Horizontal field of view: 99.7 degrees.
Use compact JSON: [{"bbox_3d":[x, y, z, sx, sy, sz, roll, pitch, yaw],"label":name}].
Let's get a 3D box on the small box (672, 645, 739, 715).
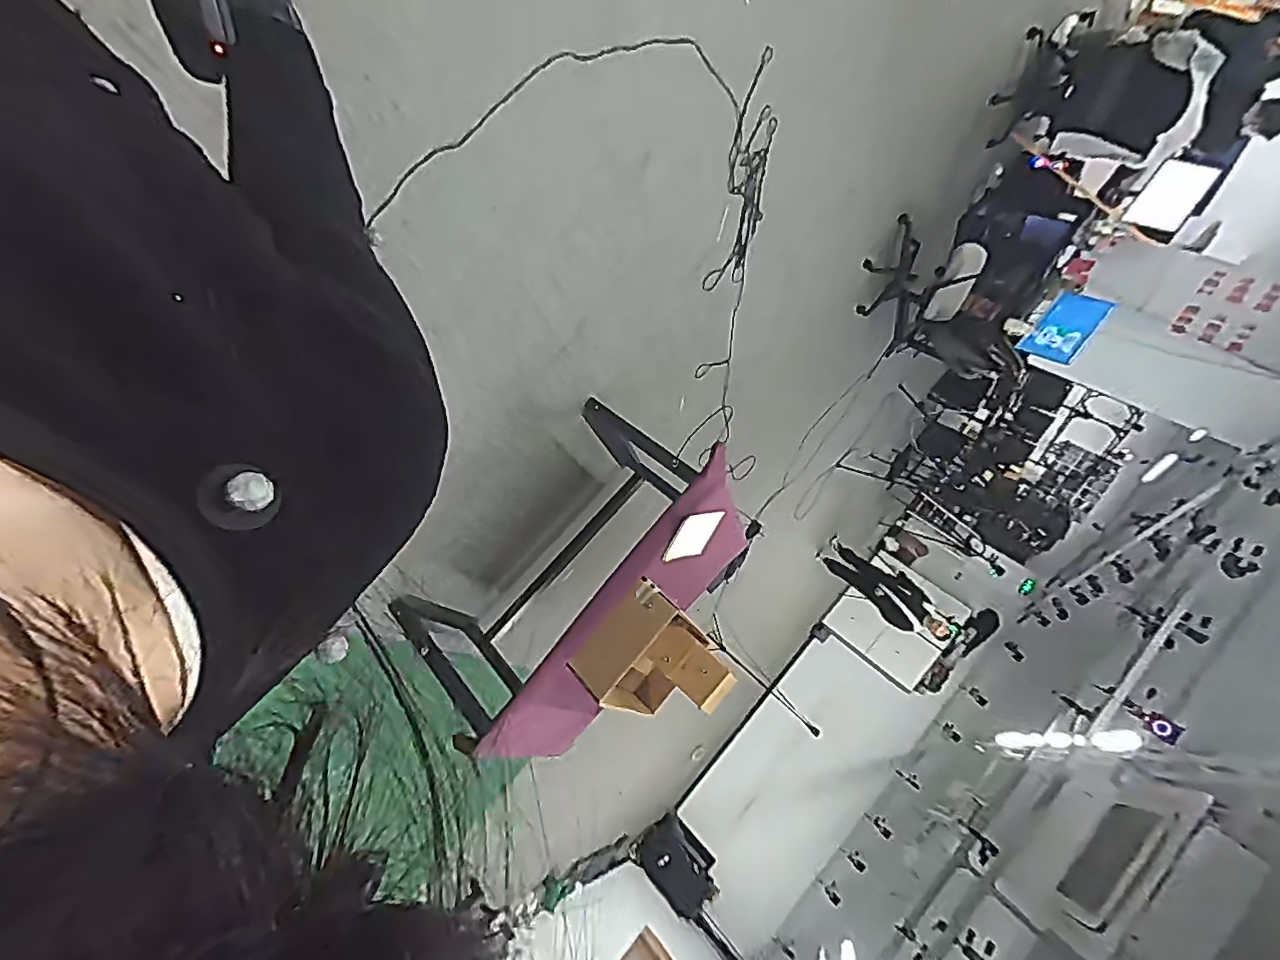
[{"bbox_3d":[0.239,0.734,1.993,0.168,0.176,0.179,-47,147,-10],"label":"small box"}]
